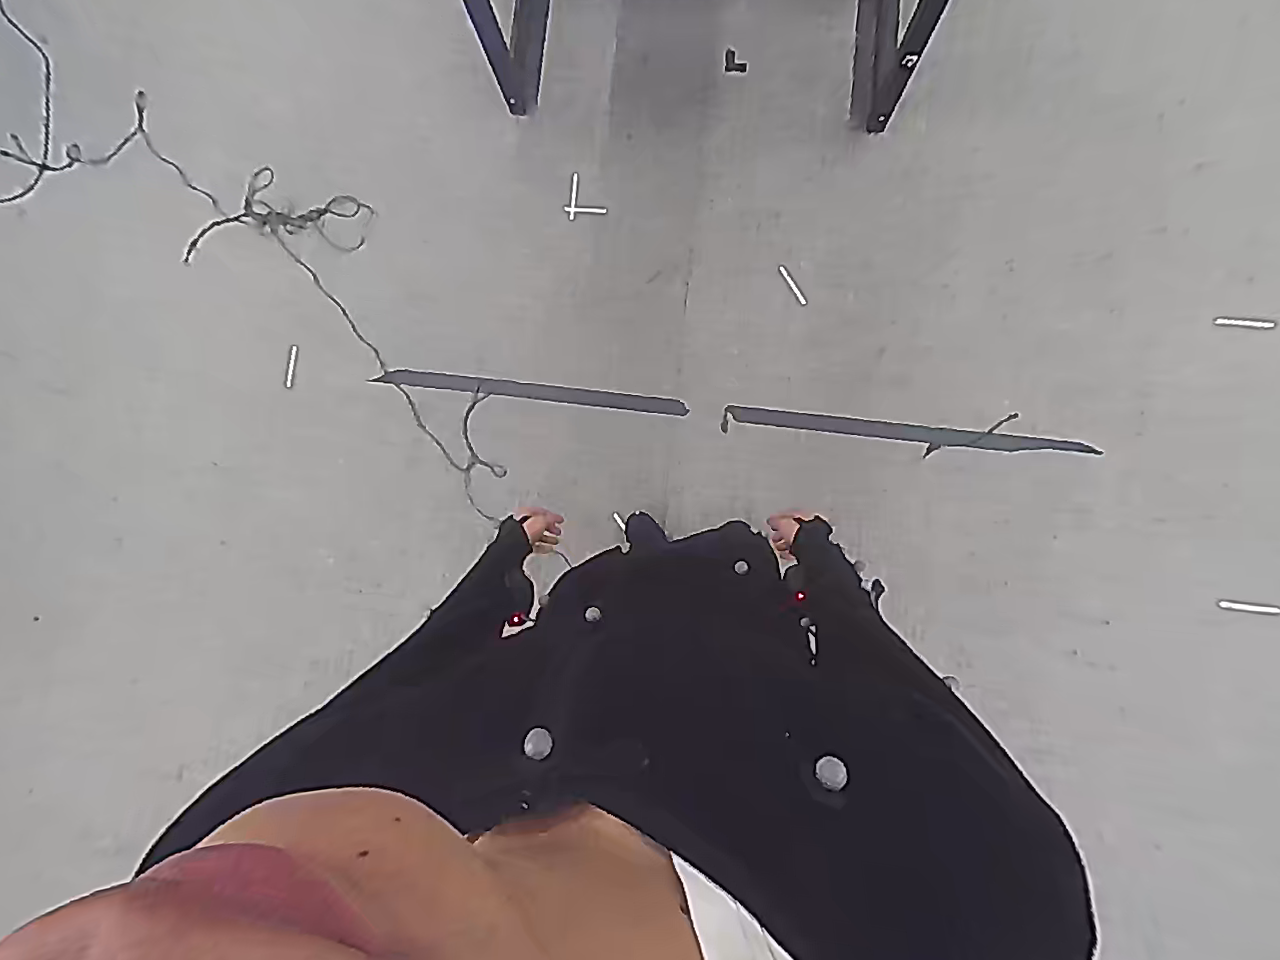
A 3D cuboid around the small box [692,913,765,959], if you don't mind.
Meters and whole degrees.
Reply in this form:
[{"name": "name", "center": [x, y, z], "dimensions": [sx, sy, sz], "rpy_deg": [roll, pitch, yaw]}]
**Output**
[{"name": "small box", "center": [0.235, 1.324, 1.464], "dimensions": [0.179, 0.176, 0.168], "rpy_deg": [7, 87, 4]}]
